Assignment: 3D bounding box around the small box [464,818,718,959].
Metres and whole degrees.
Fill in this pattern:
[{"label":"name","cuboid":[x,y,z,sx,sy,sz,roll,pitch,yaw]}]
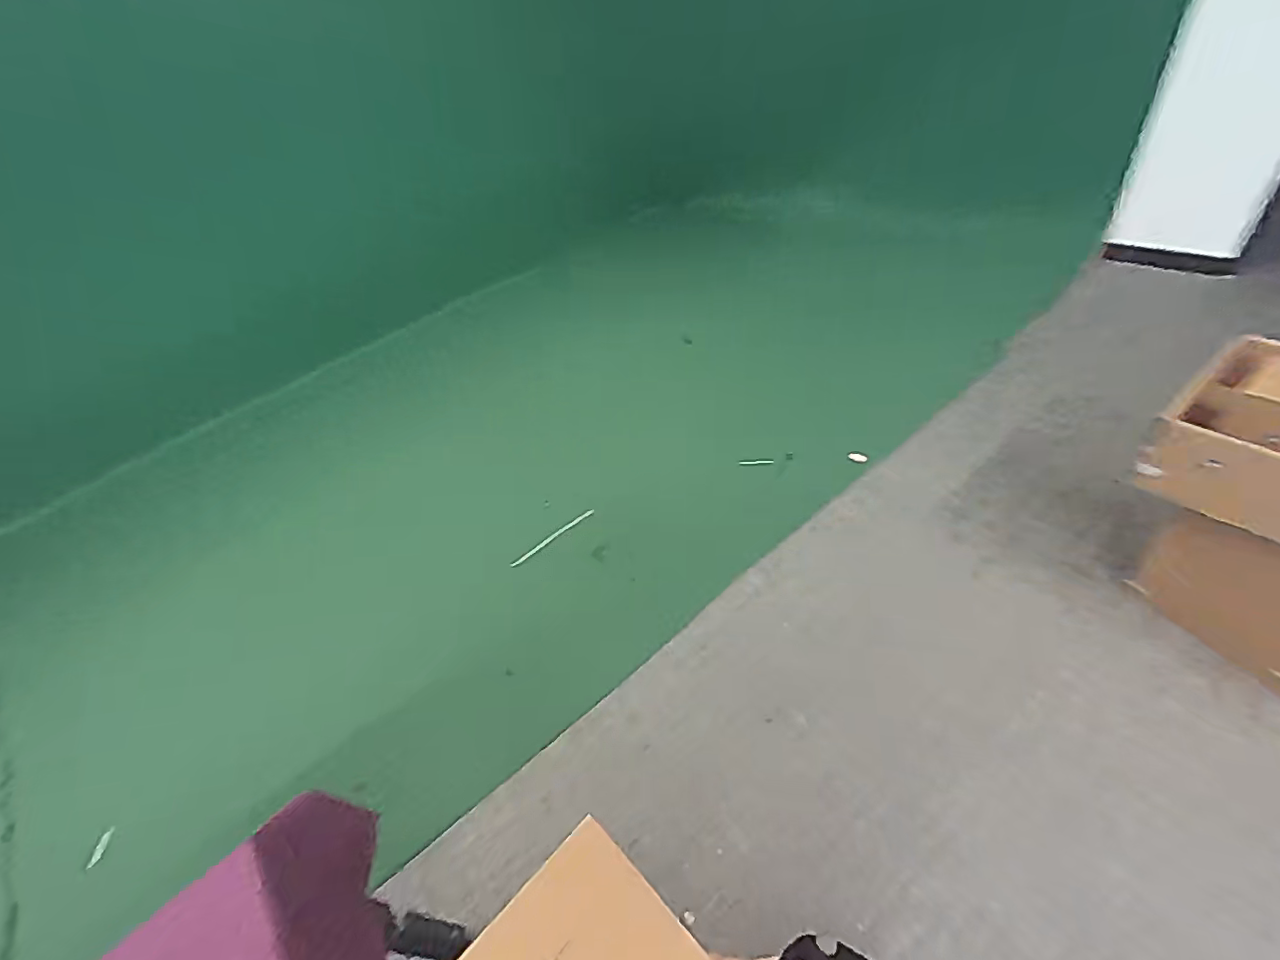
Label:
[{"label":"small box","cuboid":[-0.026,0.383,0.378,0.168,0.176,0.179,-36,58,-28]}]
